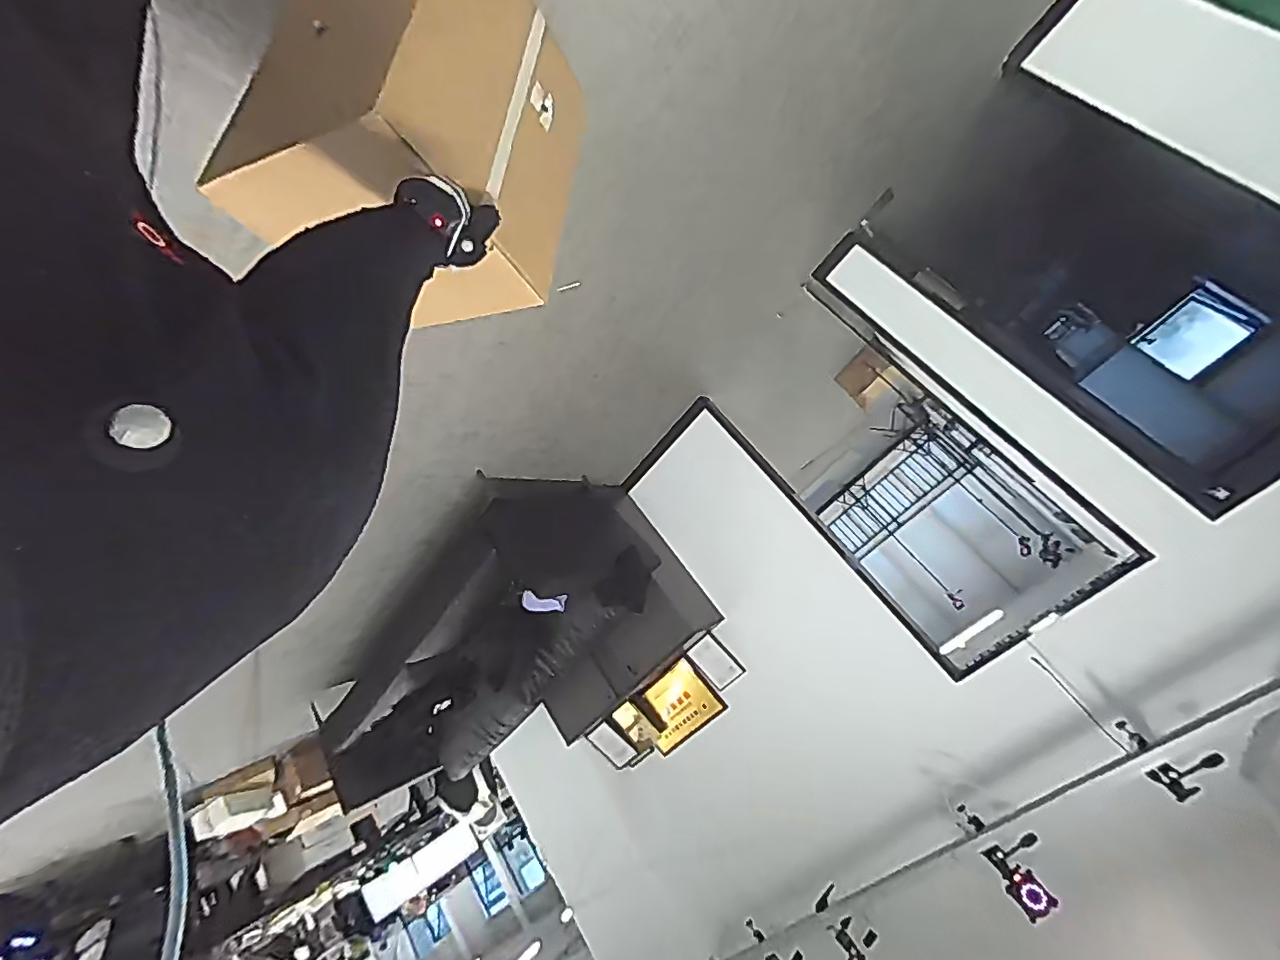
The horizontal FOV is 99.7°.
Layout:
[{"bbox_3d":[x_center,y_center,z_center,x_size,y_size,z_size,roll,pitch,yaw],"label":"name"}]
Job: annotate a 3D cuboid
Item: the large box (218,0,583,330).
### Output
[{"bbox_3d":[-0.314,-0.492,0.793,0.320,0.408,0.320,-2,159,24],"label":"large box"}]
